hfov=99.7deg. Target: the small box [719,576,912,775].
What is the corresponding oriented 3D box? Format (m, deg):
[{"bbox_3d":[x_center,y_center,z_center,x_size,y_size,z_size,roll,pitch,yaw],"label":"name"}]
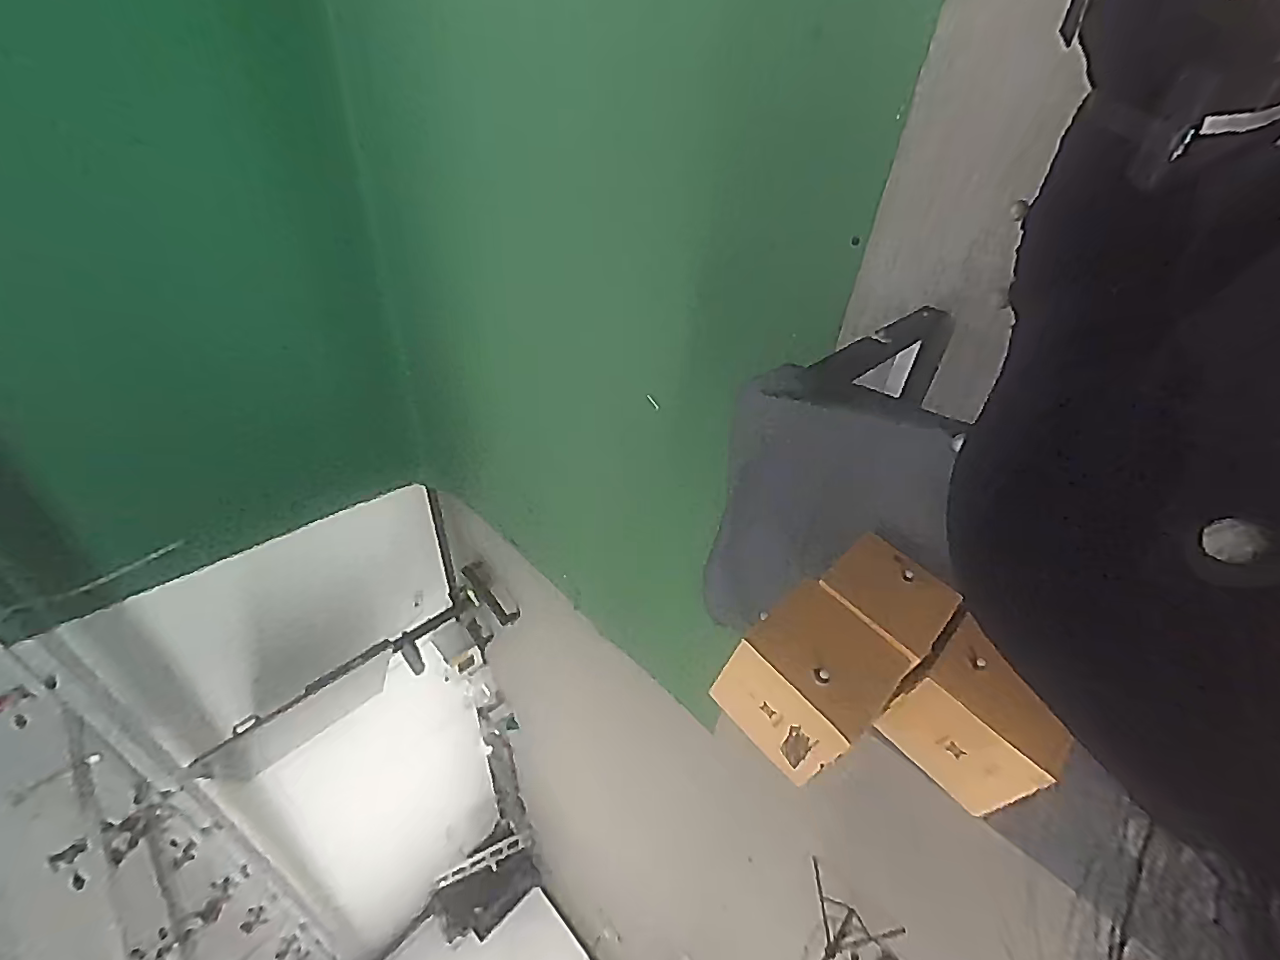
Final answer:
[{"bbox_3d":[0.251,0.273,0.779,0.179,0.176,0.168,42,139,26],"label":"small box"}]
